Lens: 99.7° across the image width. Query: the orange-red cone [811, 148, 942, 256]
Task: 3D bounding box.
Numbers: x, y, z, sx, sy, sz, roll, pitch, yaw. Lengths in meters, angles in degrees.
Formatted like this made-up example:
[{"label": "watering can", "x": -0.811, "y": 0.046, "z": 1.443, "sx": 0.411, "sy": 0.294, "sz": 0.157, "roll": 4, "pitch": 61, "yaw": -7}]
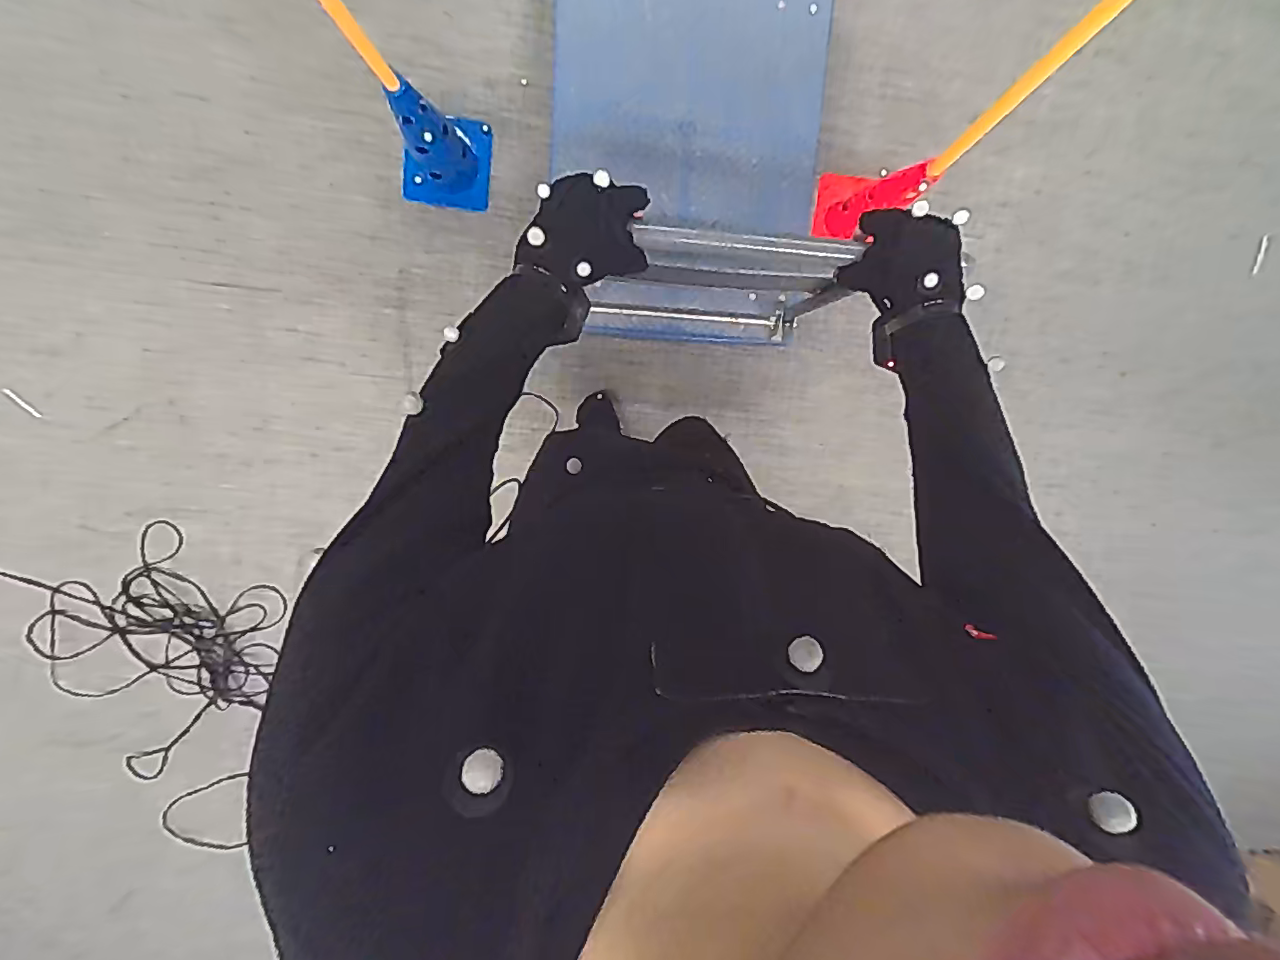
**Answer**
[{"label": "orange-red cone", "x": 0.556, "y": -0.655, "z": 1.219, "sx": 0.199, "sy": 0.360, "sz": 0.198, "roll": 6, "pitch": 100, "yaw": -4}]
